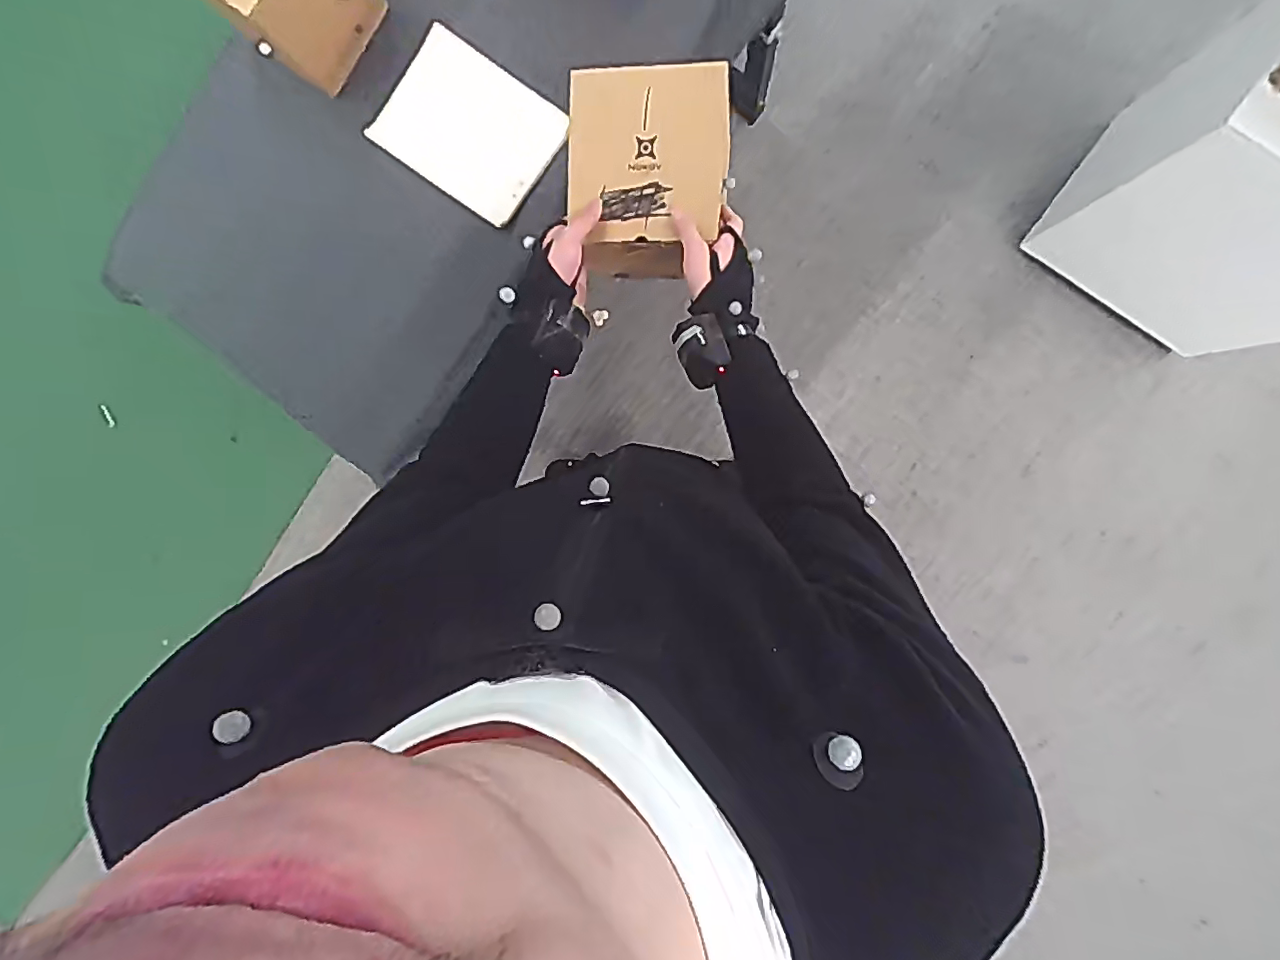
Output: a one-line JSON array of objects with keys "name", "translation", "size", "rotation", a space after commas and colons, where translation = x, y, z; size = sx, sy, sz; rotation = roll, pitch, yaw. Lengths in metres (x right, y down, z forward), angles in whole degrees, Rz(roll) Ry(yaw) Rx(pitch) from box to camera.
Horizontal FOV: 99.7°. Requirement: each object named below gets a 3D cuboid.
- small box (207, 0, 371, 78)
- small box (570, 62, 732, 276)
[{"name": "small box", "translation": [-0.514, -0.707, 0.741], "size": [0.179, 0.176, 0.168], "rotation": [36, 96, 2]}, {"name": "small box", "translation": [0.021, -0.350, 0.644], "size": [0.168, 0.176, 0.179], "rotation": [4, 98, 8]}]
